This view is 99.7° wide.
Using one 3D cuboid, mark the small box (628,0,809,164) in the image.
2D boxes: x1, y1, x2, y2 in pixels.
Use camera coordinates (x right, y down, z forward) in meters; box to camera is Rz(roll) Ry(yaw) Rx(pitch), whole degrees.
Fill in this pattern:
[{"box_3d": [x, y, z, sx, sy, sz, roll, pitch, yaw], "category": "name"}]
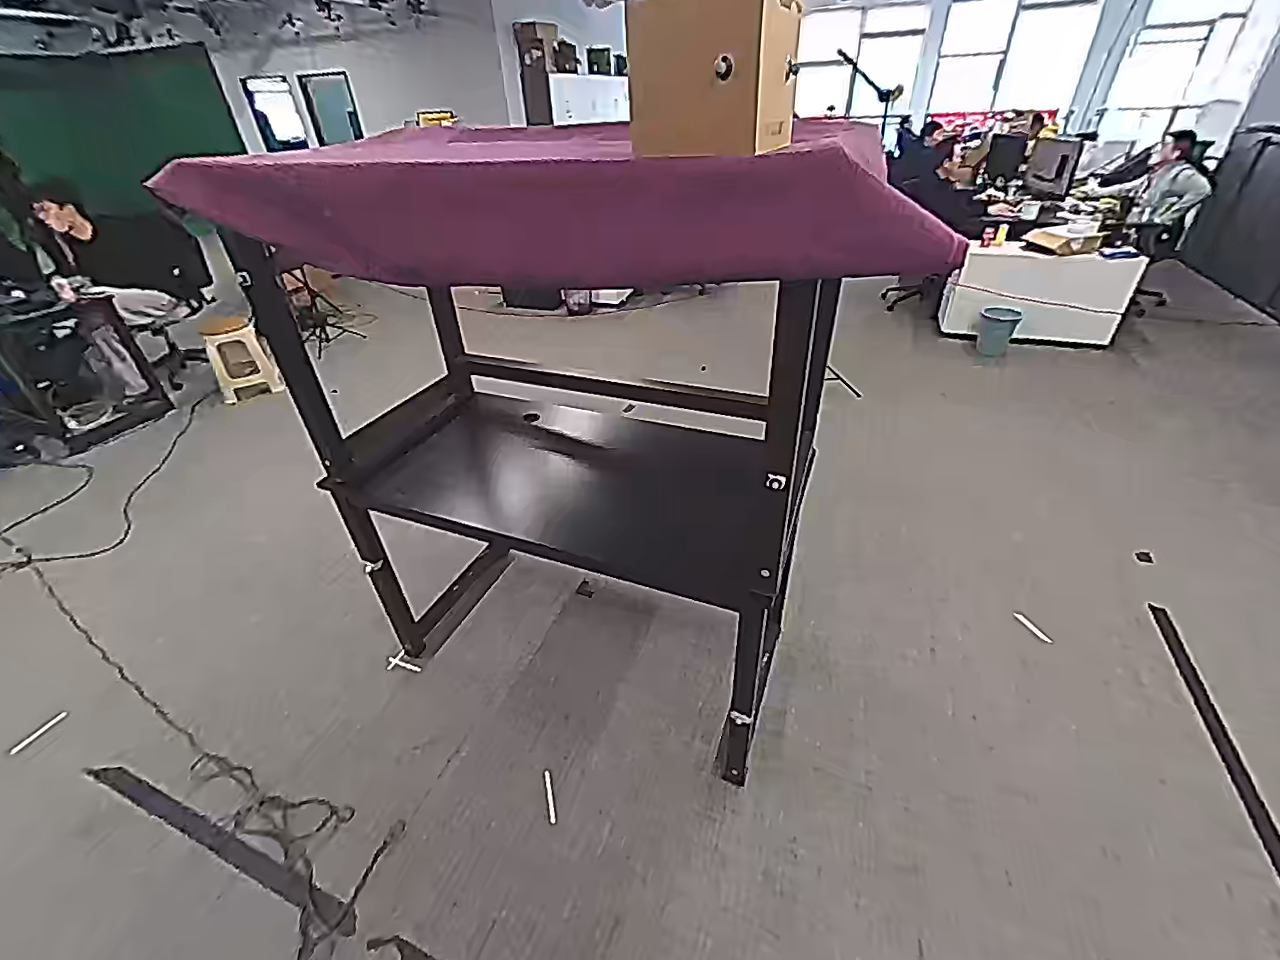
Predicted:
[{"box_3d": [0.103, -0.517, 0.702, 0.179, 0.176, 0.168, 14, 37, 25], "category": "small box"}]
